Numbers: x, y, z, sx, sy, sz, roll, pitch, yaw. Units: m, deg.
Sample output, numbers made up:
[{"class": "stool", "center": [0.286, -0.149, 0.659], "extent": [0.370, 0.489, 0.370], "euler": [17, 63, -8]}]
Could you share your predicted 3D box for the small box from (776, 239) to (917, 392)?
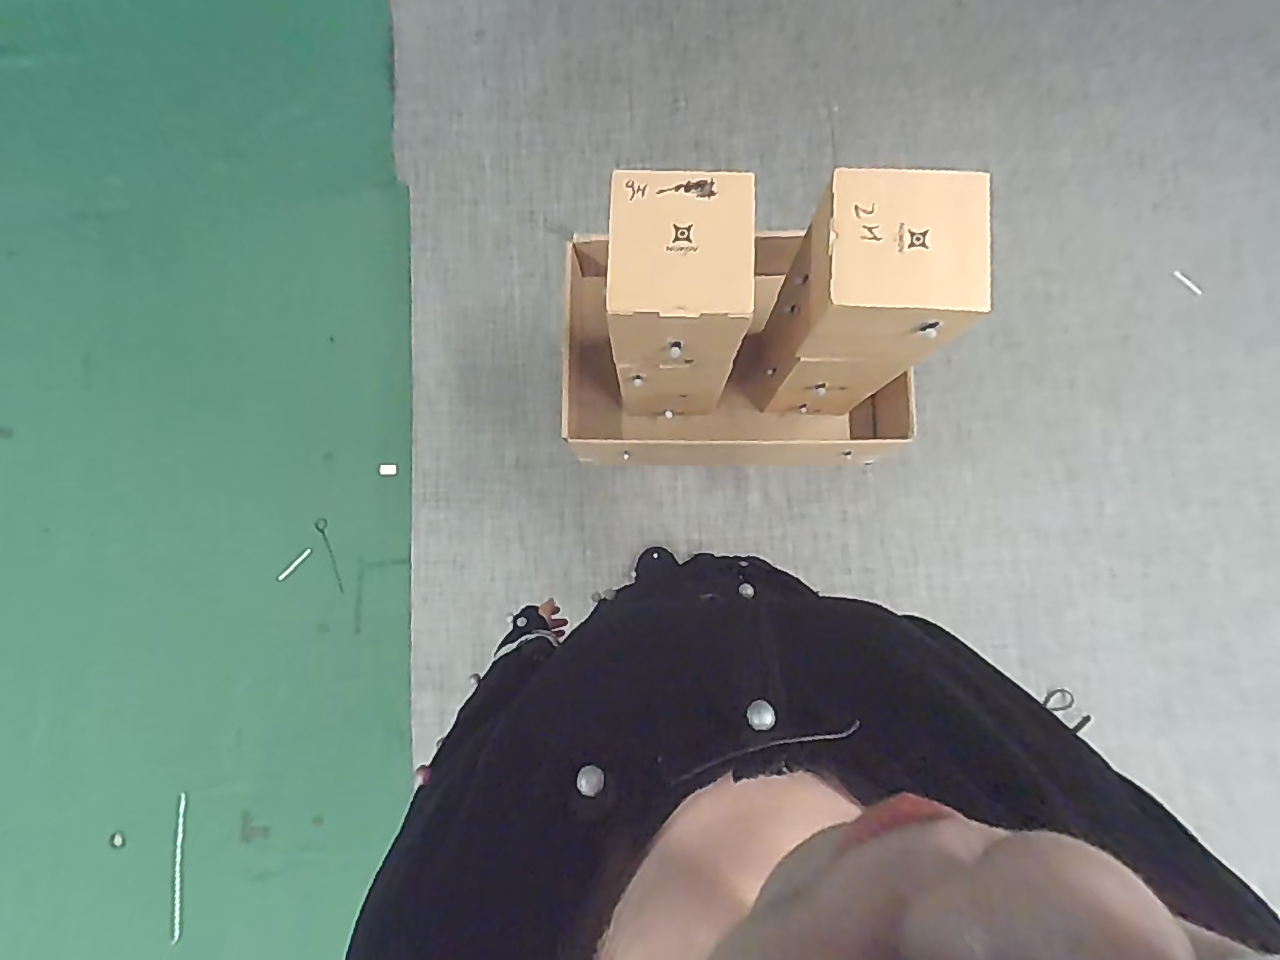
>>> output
[{"class": "small box", "center": [0.310, -0.248, 0.840], "extent": [0.168, 0.176, 0.179], "euler": [2, 84, 4]}]
